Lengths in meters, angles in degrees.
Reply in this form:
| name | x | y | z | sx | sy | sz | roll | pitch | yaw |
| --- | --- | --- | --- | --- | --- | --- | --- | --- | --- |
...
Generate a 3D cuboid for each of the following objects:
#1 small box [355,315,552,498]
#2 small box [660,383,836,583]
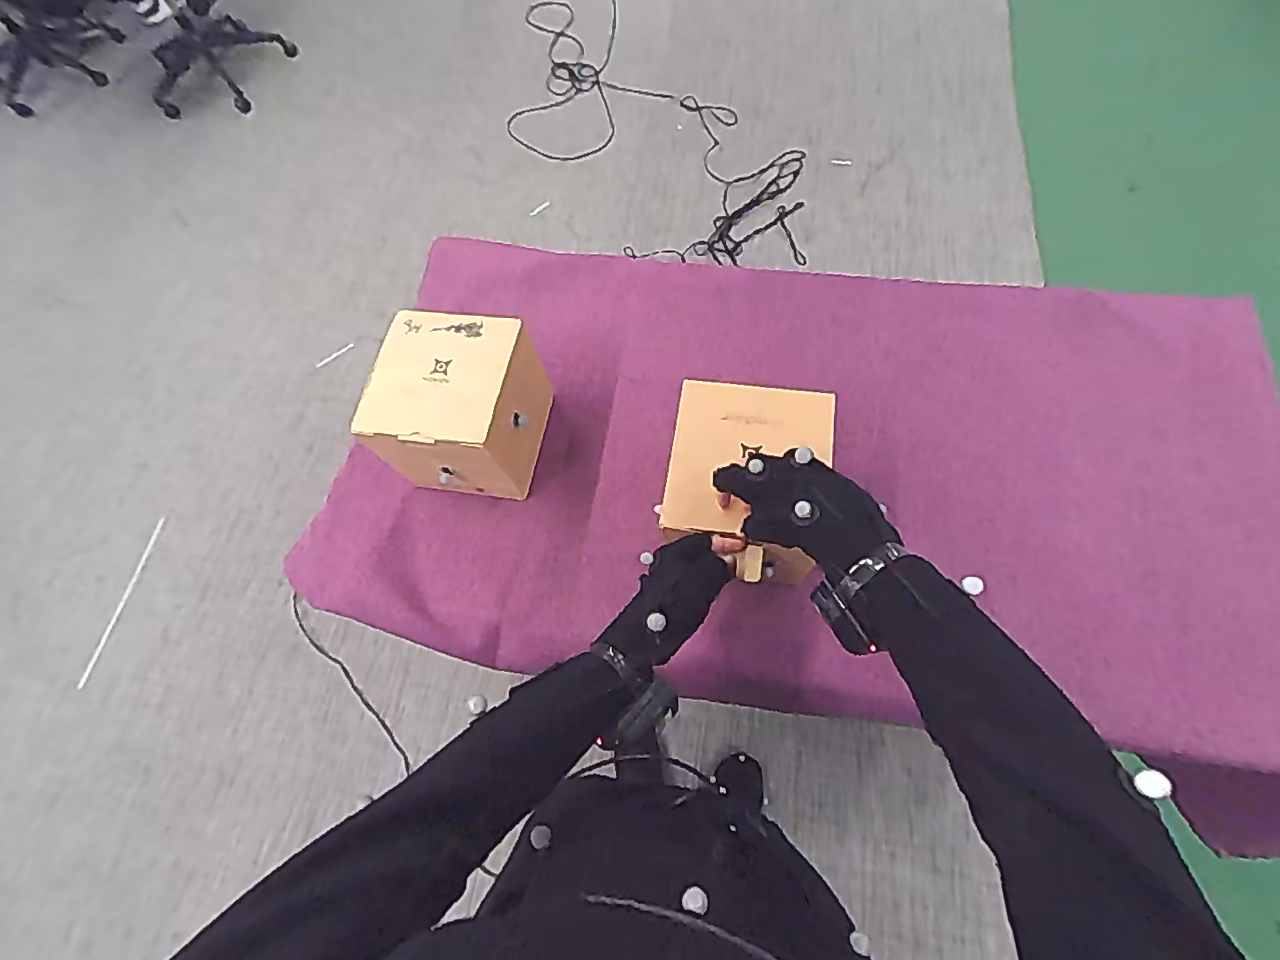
| name | x | y | z | sx | sy | sz | roll | pitch | yaw |
| --- | --- | --- | --- | --- | --- | --- | --- | --- | --- |
| small box | -0.225 | -0.088 | 0.707 | 0.168 | 0.176 | 0.179 | 7 | 68 | 8 |
| small box | 0.122 | 0.012 | 0.631 | 0.168 | 0.176 | 0.179 | 8 | 67 | 8 |
